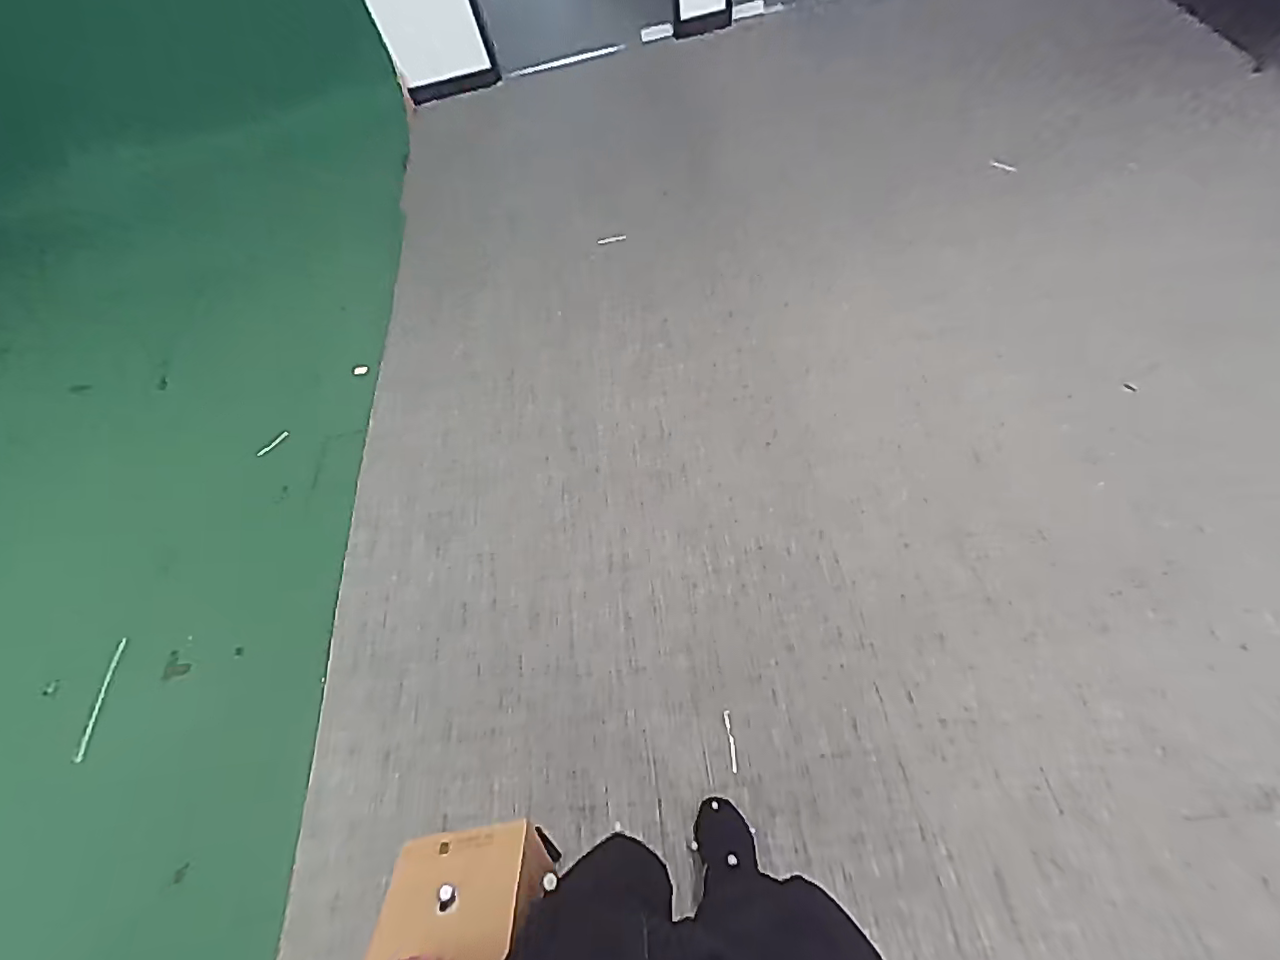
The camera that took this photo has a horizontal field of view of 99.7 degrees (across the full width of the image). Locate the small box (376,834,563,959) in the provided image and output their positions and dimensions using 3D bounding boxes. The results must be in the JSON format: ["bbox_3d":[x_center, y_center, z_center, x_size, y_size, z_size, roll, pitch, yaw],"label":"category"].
[{"bbox_3d":[-0.195,0.550,0.639,0.168,0.179,0.176,-15,27,2],"label":"small box"}]
